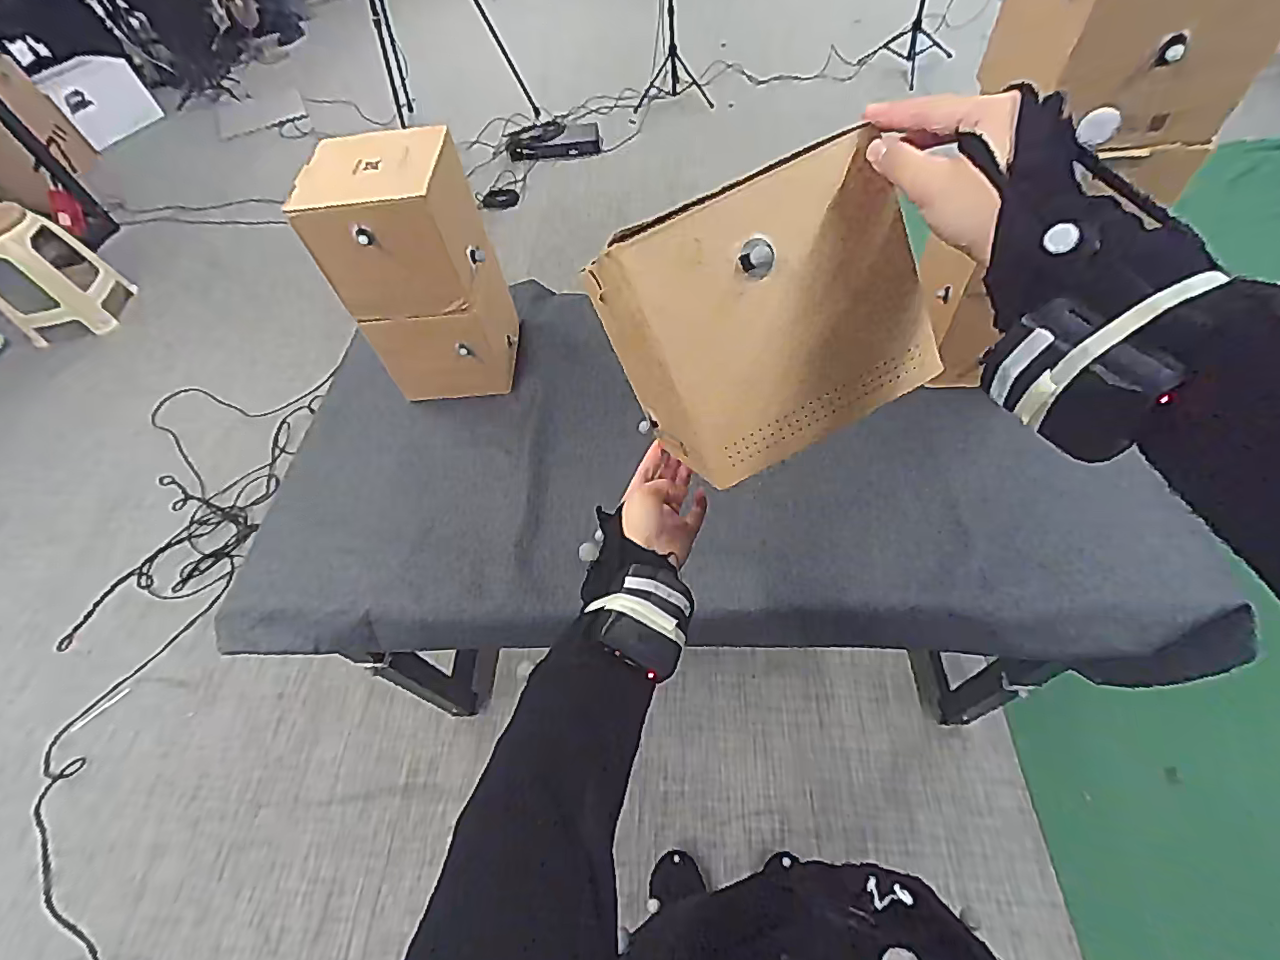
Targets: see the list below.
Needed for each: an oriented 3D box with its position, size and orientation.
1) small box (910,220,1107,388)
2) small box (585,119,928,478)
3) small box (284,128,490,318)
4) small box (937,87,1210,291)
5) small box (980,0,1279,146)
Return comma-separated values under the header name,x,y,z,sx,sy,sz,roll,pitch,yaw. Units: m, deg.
name,x,y,z,sx,sy,sz,roll,pitch,yaw
small box,0.495,-0.252,0.769,0.168,0.176,0.179,1,57,8
small box,0.078,-0.120,0.408,0.179,0.176,0.168,-26,18,-4
small box,-0.322,-0.337,0.728,0.179,0.176,0.168,-4,58,3
small box,0.474,-0.338,0.631,0.168,0.176,0.179,1,58,8
small box,0.450,-0.429,0.495,0.168,0.176,0.179,0,57,7
